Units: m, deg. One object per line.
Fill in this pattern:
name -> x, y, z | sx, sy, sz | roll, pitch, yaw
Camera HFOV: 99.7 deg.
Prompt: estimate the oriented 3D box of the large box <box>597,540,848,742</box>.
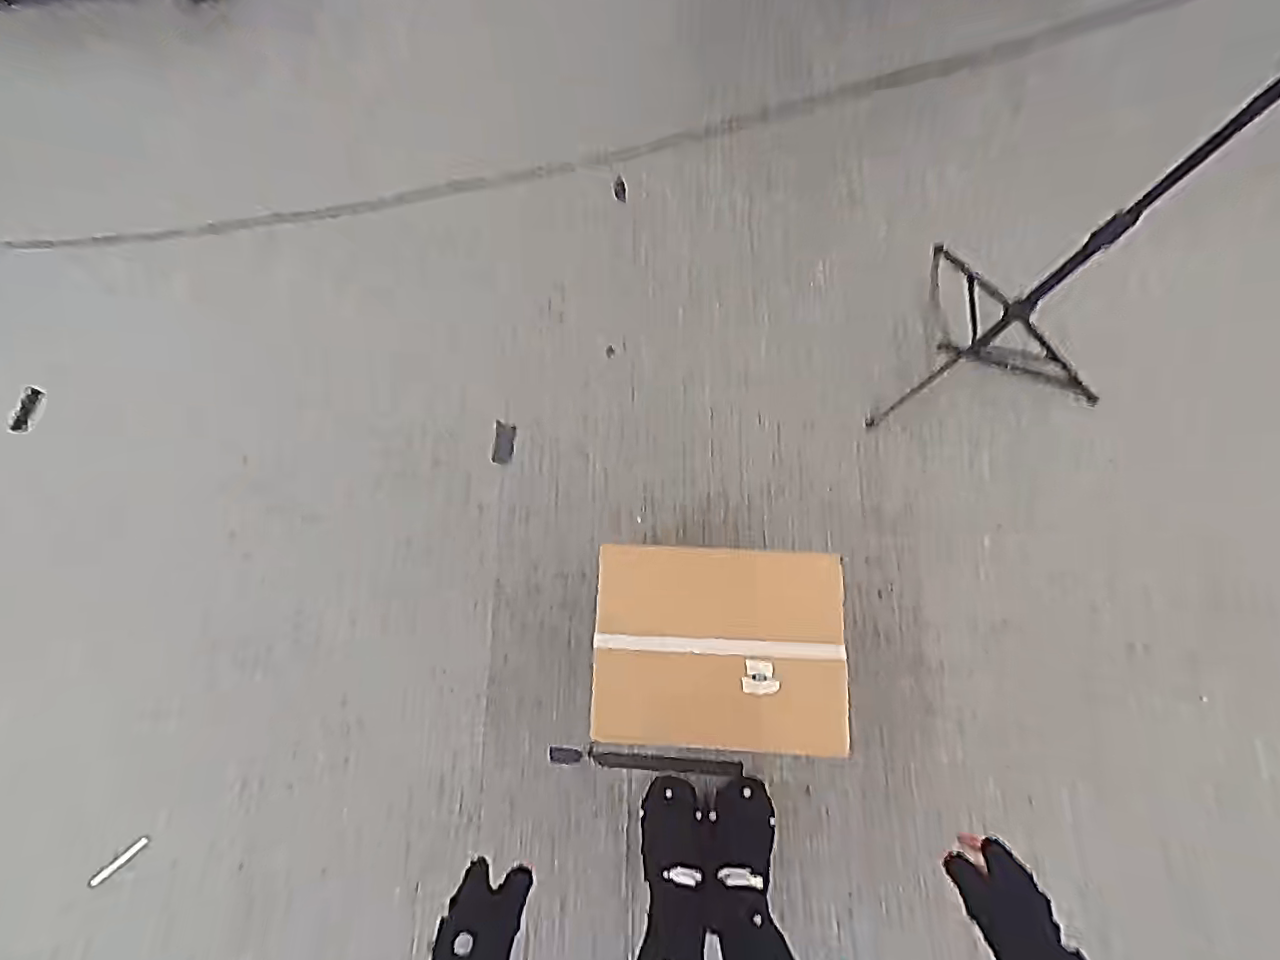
large box -> 0.139, 0.290, 1.030 | 0.408, 0.320, 0.320 | 1, 78, 4
